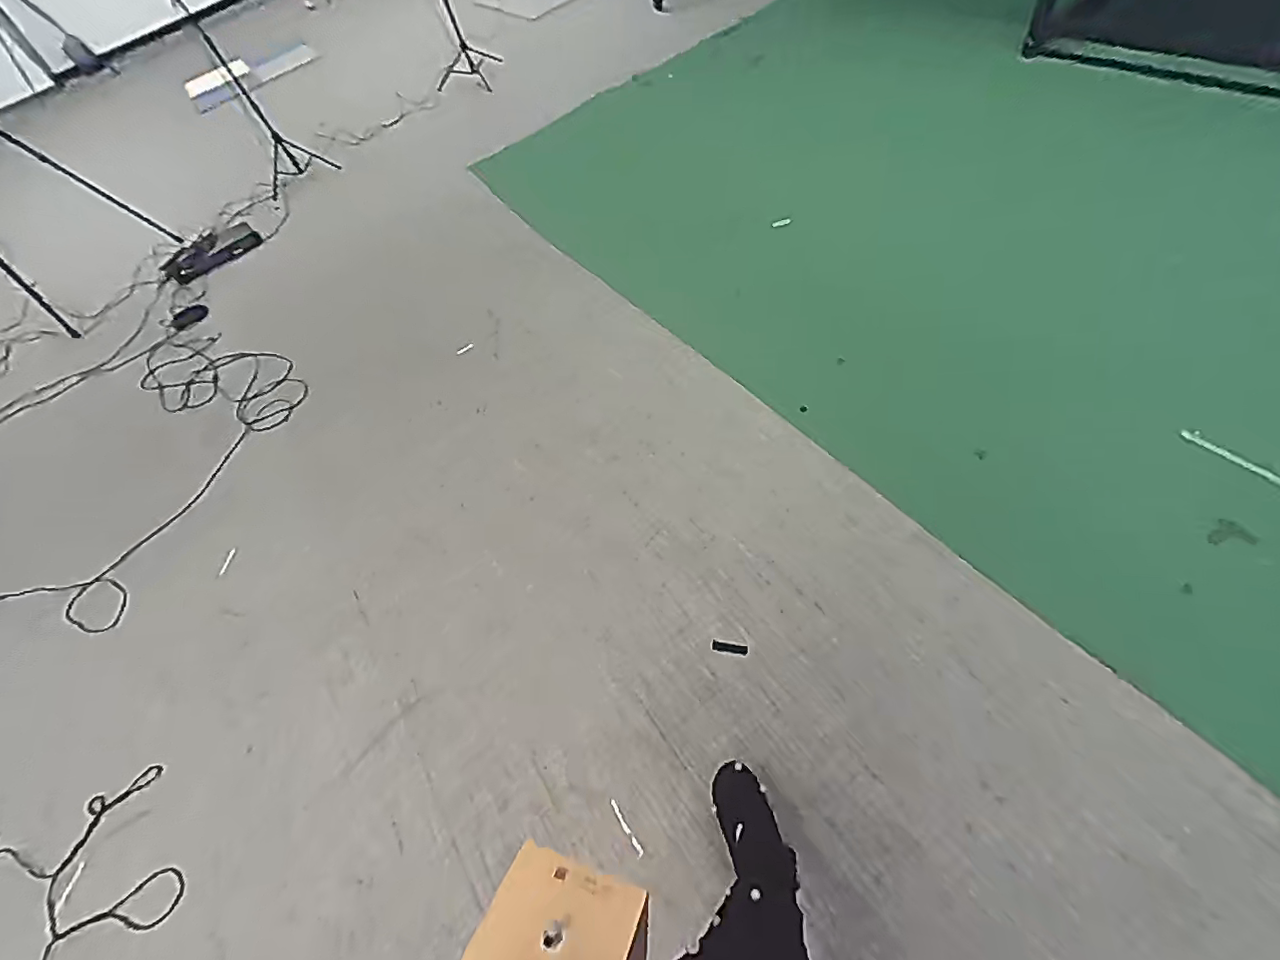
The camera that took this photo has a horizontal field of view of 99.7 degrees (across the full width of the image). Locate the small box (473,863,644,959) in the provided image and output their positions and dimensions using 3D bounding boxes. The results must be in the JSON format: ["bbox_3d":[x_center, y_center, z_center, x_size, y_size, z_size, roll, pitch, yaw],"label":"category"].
[{"bbox_3d":[-0.098,0.584,0.610,0.168,0.179,0.176,8,23,16],"label":"small box"}]
